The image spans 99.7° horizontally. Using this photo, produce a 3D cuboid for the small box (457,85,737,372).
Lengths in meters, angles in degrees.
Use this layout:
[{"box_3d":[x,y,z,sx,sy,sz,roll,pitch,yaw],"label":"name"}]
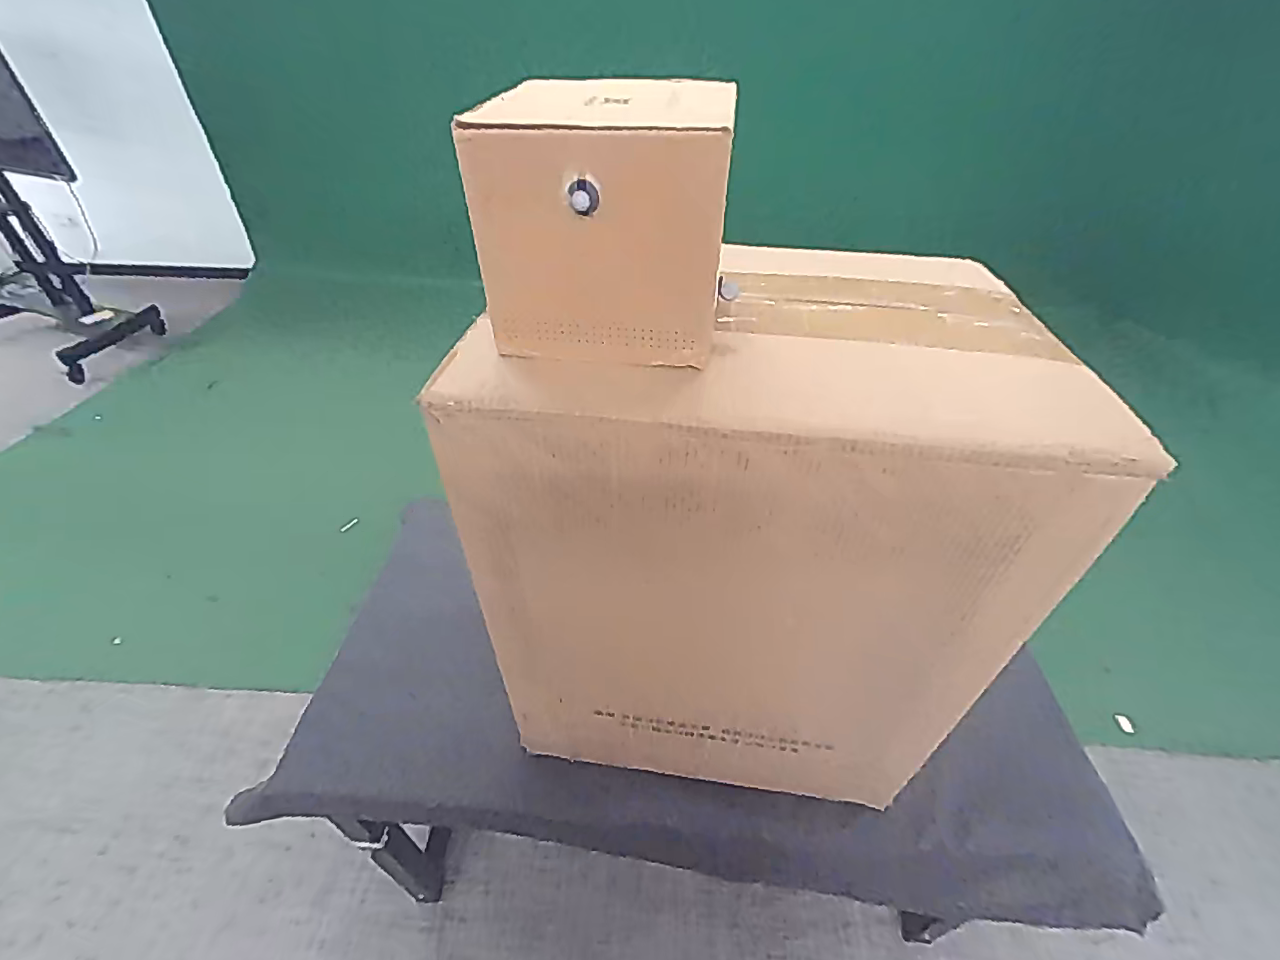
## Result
[{"box_3d":[-0.020,-0.204,0.441,0.179,0.176,0.168,6,45,5],"label":"small box"}]
